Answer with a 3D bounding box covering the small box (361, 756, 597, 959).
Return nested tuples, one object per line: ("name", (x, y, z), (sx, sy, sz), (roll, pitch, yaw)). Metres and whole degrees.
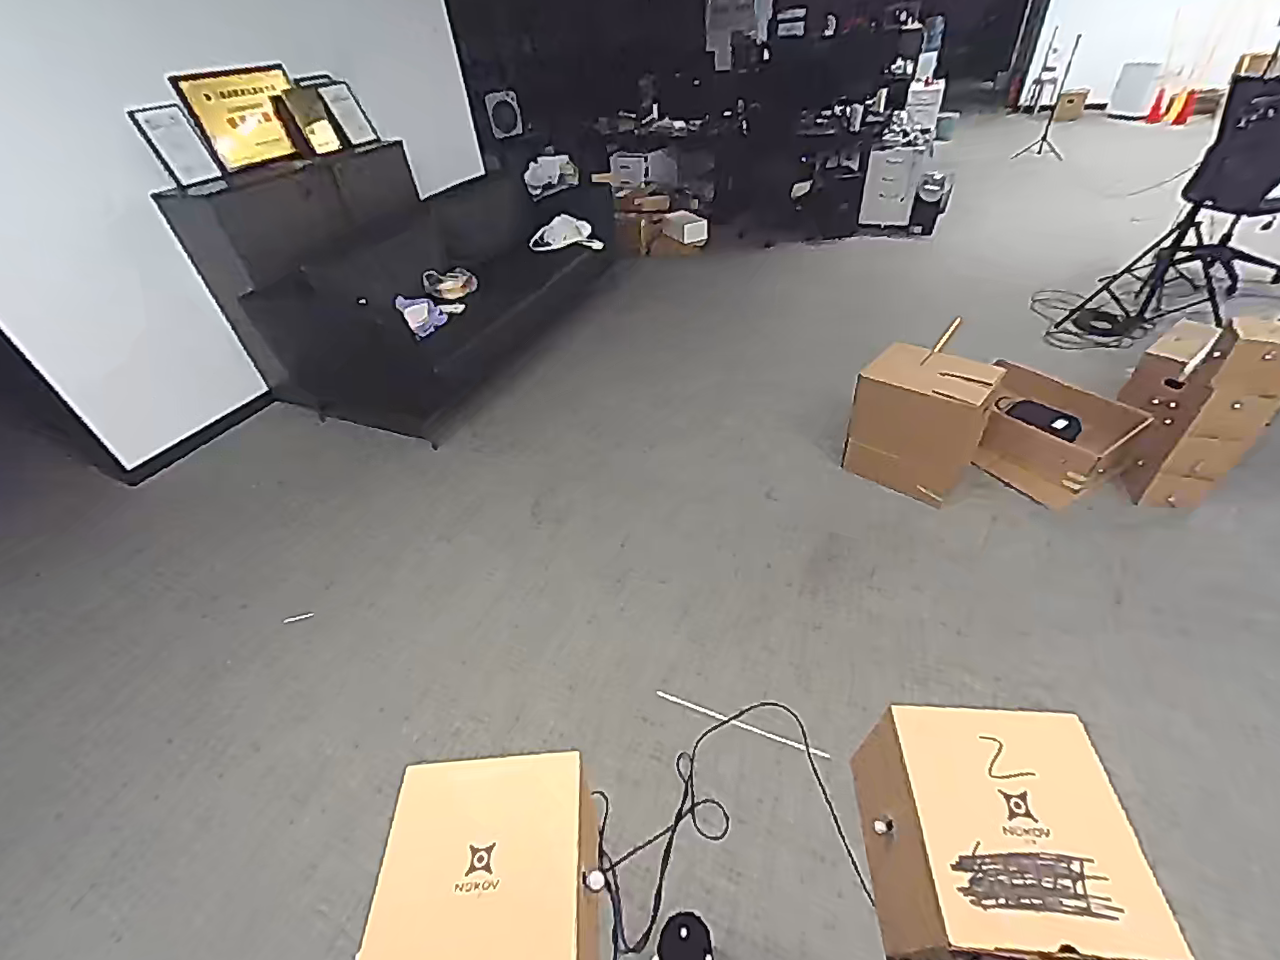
("small box", (-0.131, 0.388, 0.506), (0.168, 0.176, 0.179), (-4, 40, -1))
